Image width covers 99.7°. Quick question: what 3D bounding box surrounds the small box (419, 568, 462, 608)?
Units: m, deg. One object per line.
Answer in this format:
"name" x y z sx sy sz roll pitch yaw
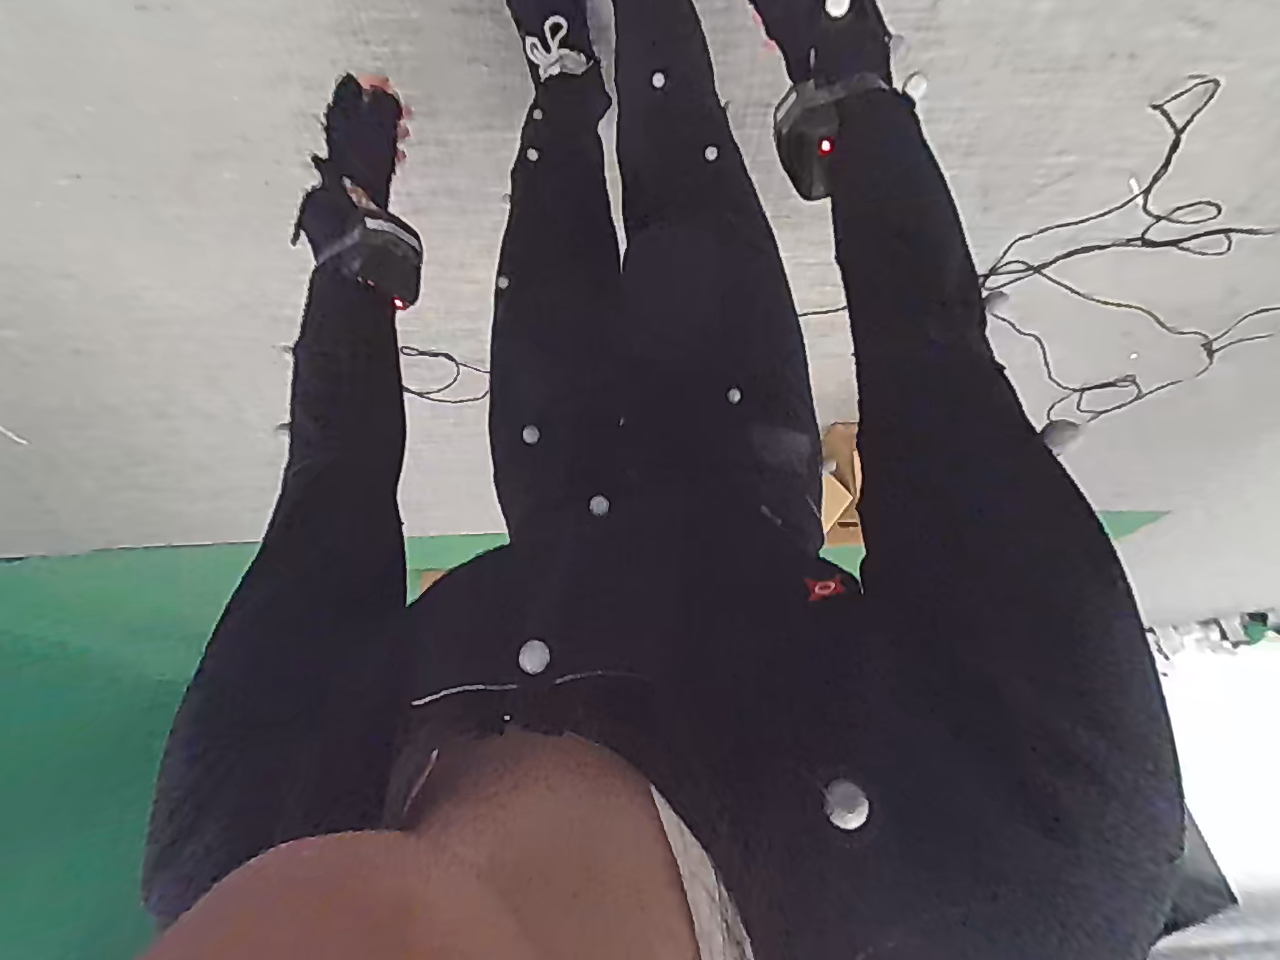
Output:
"small box" -1.091 0.592 2.963 0.179 0.176 0.168 -2 150 -4
